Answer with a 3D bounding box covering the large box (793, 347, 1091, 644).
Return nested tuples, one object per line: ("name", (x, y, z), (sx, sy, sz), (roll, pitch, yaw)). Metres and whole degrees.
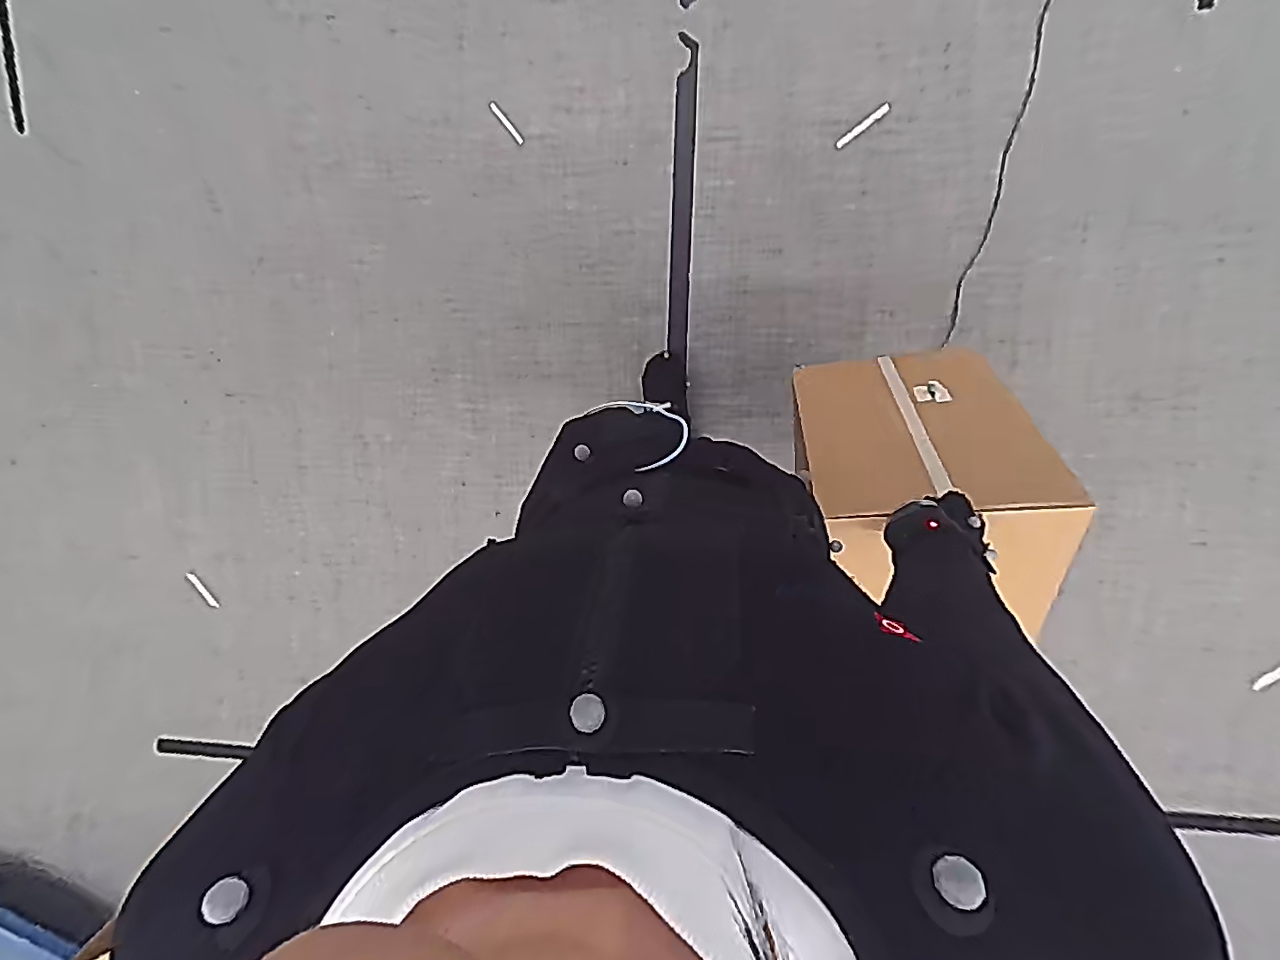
("large box", (0.439, 0.019, 0.912), (0.320, 0.408, 0.320), (-3, 129, 11))
